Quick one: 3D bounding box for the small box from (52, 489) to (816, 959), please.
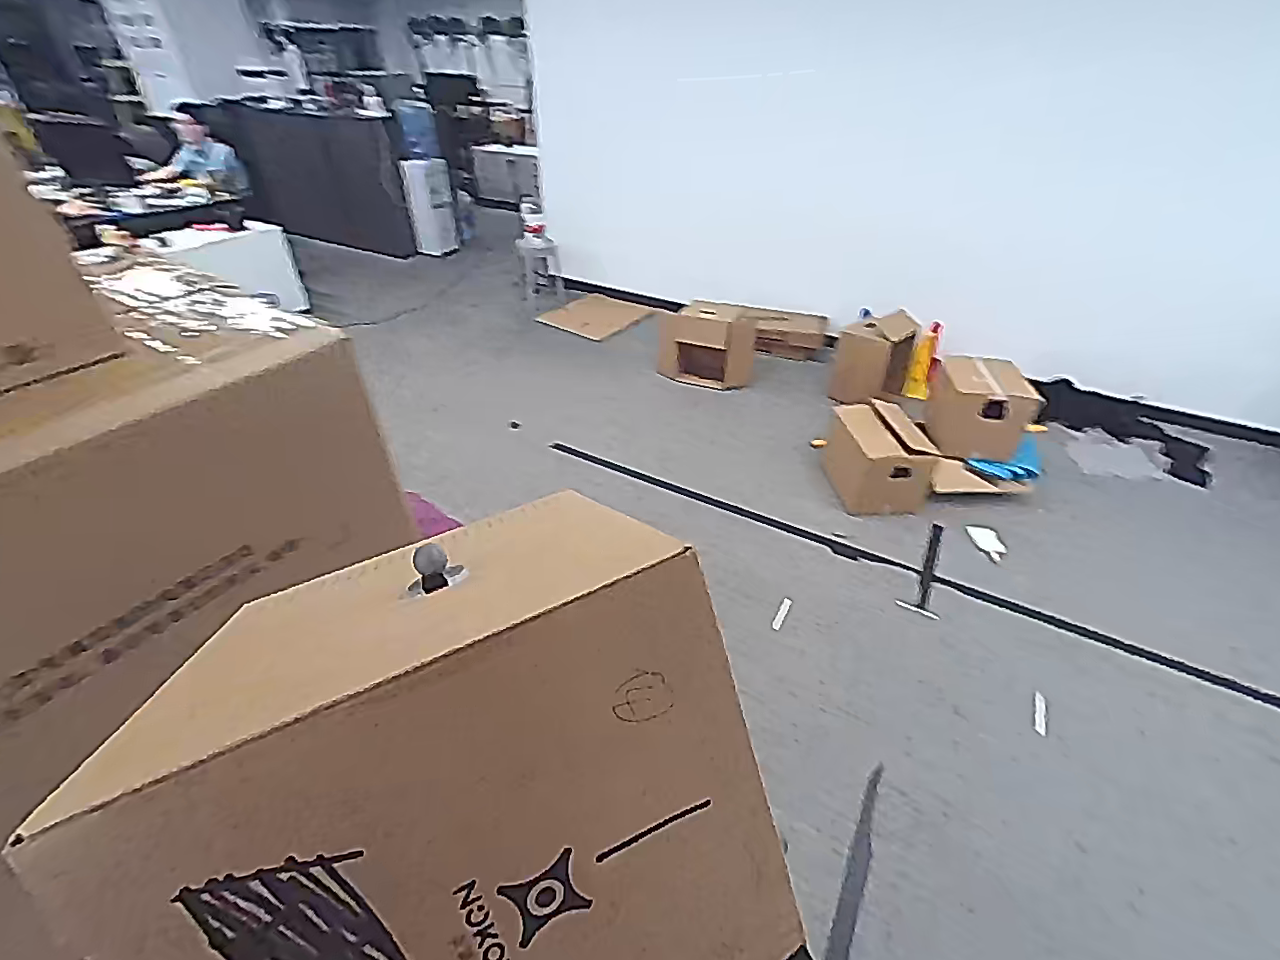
[{"bbox_3d":[-0.061,0.112,0.235,0.179,0.168,0.176,-20,12,-19],"label":"small box"}]

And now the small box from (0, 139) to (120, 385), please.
[{"bbox_3d":[-0.522,-0.154,0.362,0.179,0.176,0.168,21,43,25],"label":"small box"}]
